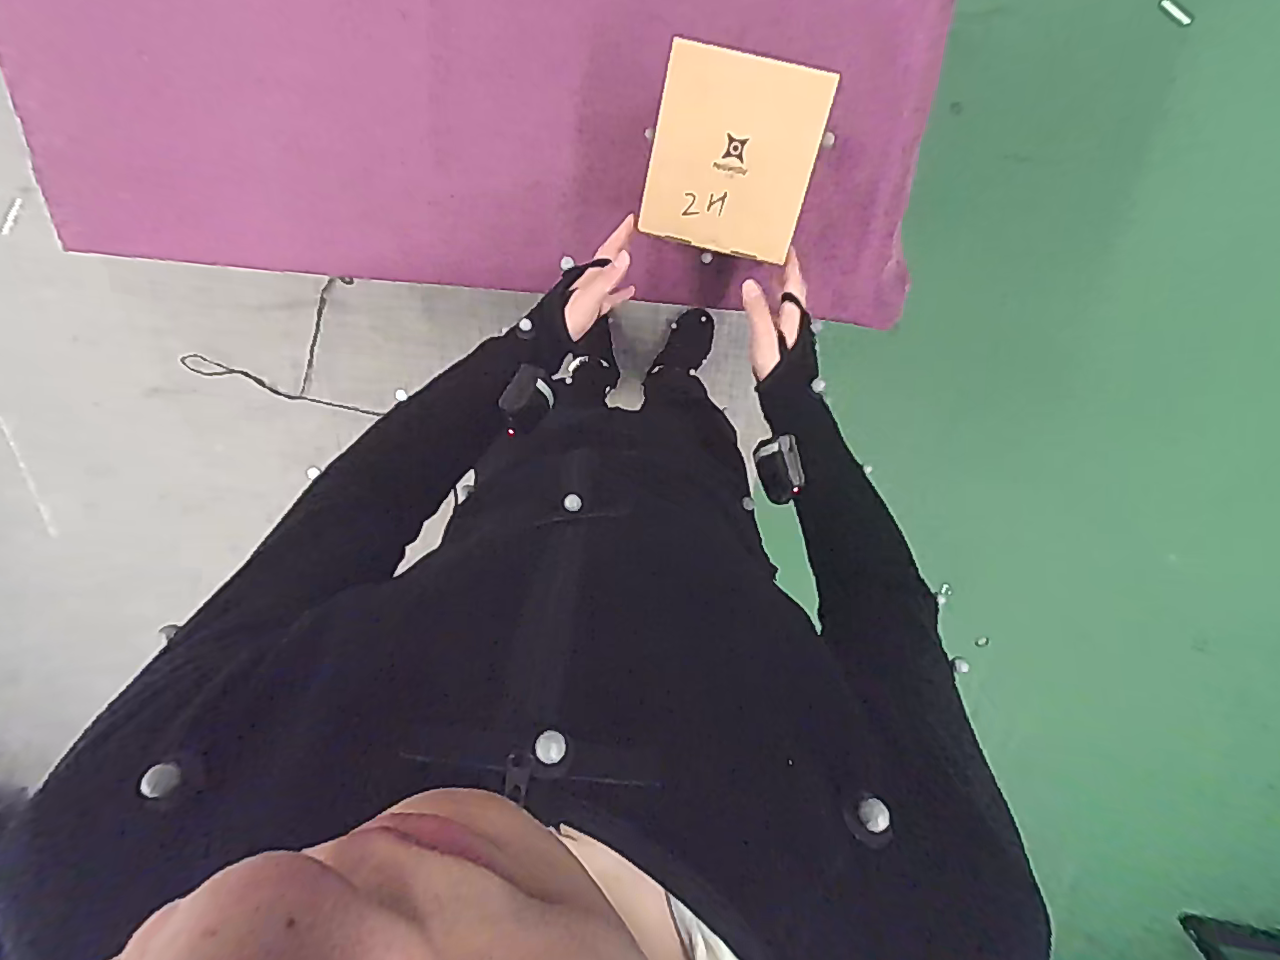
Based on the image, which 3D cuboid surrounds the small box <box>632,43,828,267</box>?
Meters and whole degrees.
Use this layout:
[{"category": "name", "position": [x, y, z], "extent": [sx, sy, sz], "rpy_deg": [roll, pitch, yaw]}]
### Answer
[{"category": "small box", "position": [0.097, -0.362, 0.632], "extent": [0.168, 0.176, 0.179], "rpy_deg": [15, 115, 3]}]

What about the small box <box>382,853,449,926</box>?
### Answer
[{"category": "small box", "position": [-0.799, 1.475, 1.923], "extent": [0.168, 0.176, 0.179], "rpy_deg": [17, 115, 0]}]
